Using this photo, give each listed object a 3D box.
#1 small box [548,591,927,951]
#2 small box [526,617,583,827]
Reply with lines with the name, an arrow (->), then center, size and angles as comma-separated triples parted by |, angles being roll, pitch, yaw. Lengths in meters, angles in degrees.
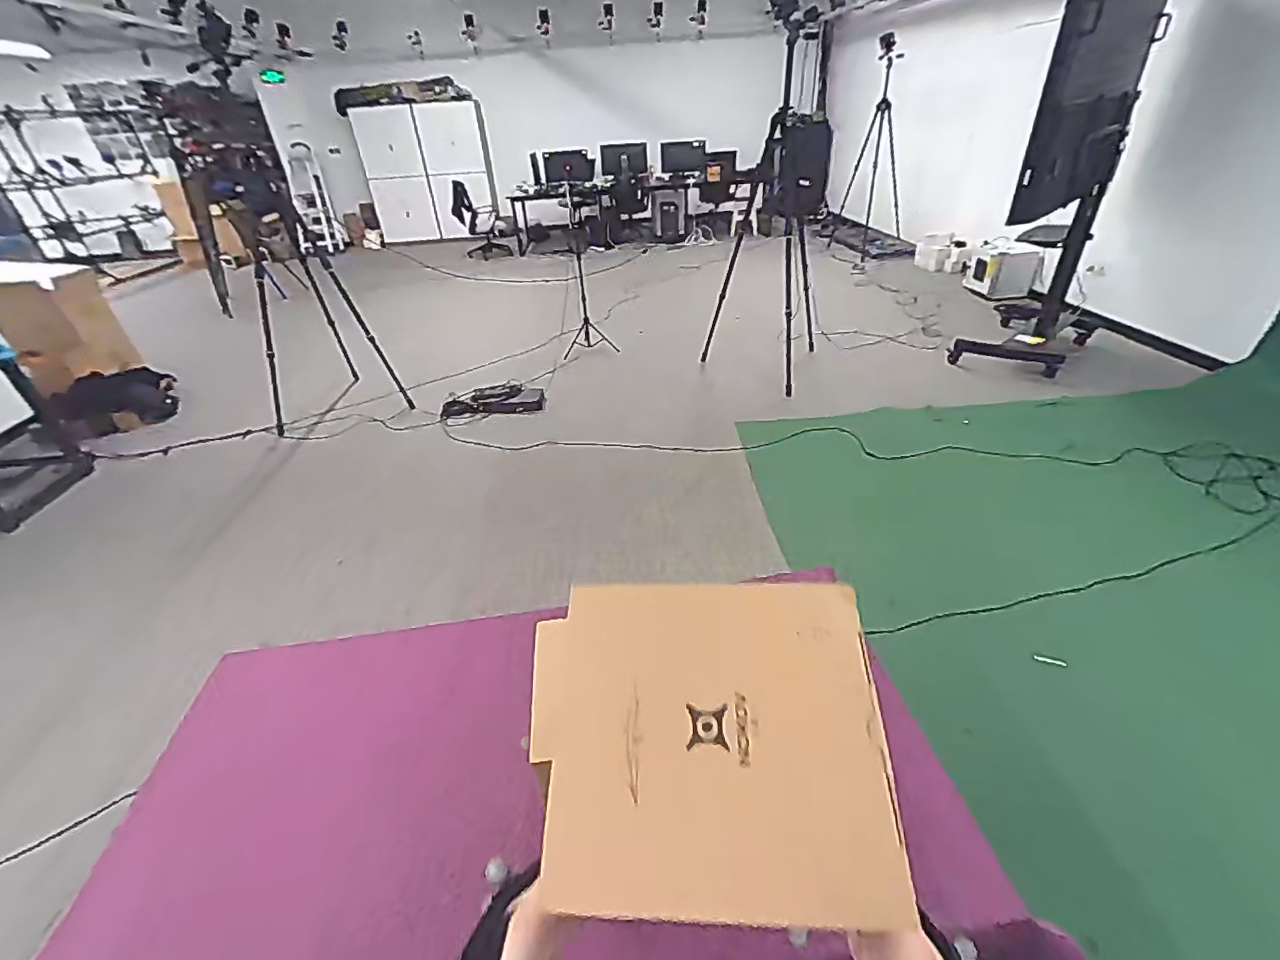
small box -> 0.054, 0.184, 0.357 | 0.179, 0.176, 0.168 | -1, 56, 7
small box -> -0.027, 0.275, 0.617 | 0.168, 0.176, 0.179 | -4, 32, -2
